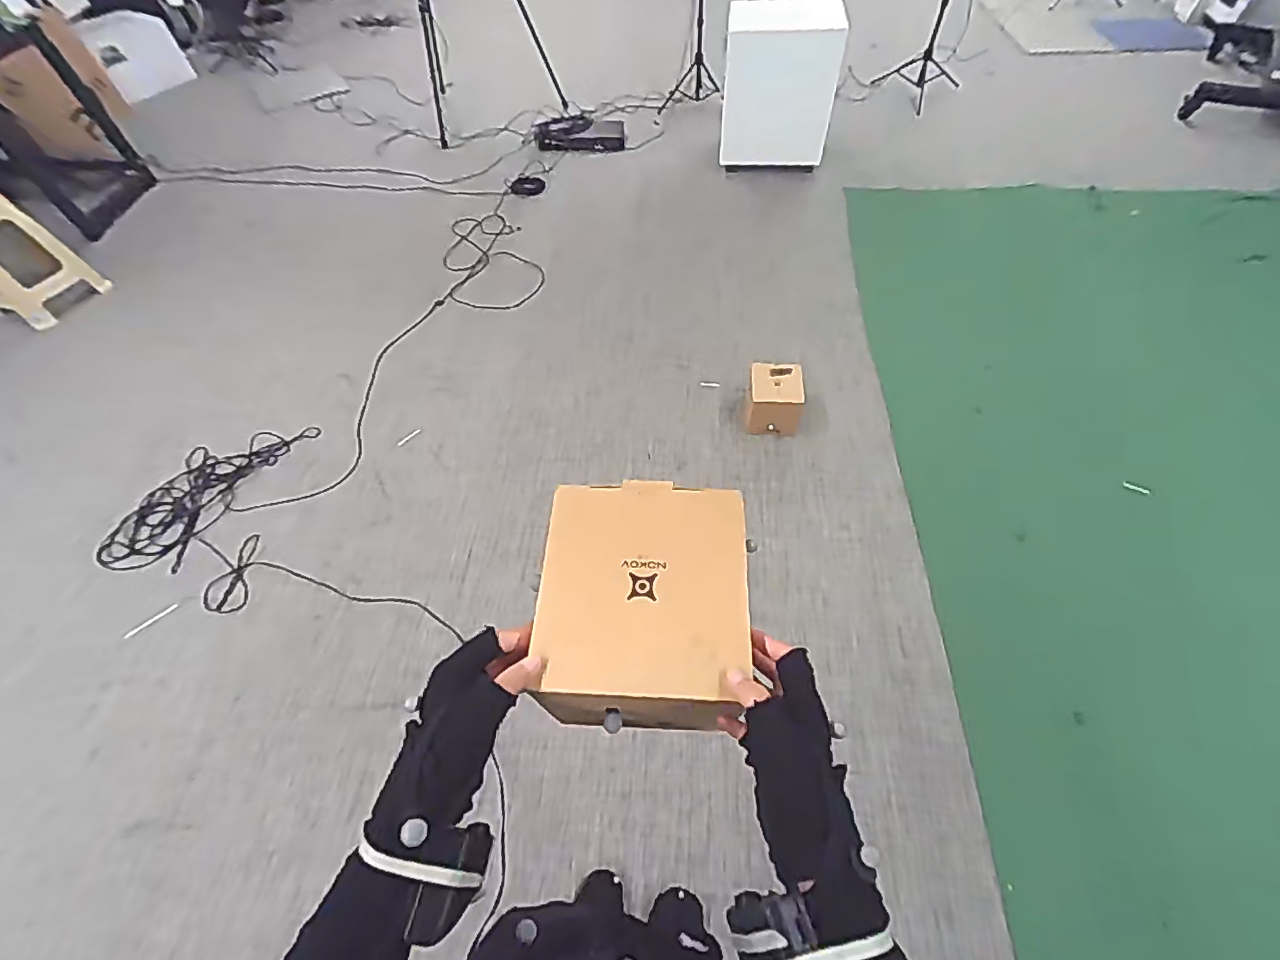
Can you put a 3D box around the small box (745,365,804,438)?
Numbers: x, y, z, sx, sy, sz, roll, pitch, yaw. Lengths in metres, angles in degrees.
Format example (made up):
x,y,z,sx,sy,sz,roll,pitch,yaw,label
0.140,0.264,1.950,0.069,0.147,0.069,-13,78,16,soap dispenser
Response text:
x,y,z,sx,sy,sz,roll,pitch,yaw,label
0.447,-0.266,1.826,0.168,0.176,0.179,2,57,4,small box
